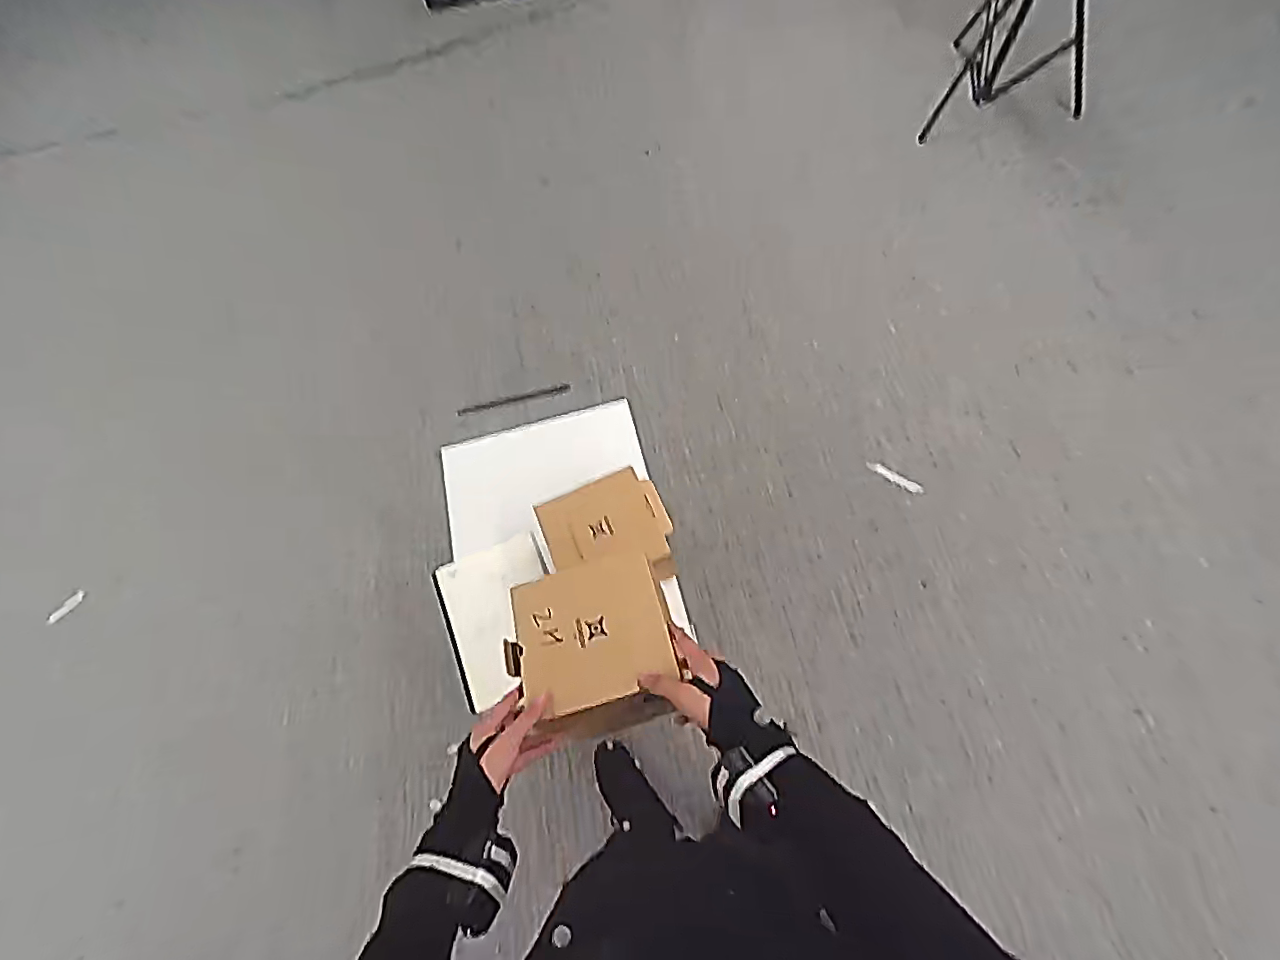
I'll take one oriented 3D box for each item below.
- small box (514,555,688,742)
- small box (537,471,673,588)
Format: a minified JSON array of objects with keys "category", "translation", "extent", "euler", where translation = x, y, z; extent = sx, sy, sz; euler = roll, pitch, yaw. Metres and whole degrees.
[{"category":"small box","translation":[-0.042,0.222,0.693],"extent":[0.179,0.176,0.168],"euler":[-17,57,2]},{"category":"small box","translation":[-0.051,0.114,0.921],"extent":[0.179,0.176,0.168],"euler":[-23,66,-3]}]
